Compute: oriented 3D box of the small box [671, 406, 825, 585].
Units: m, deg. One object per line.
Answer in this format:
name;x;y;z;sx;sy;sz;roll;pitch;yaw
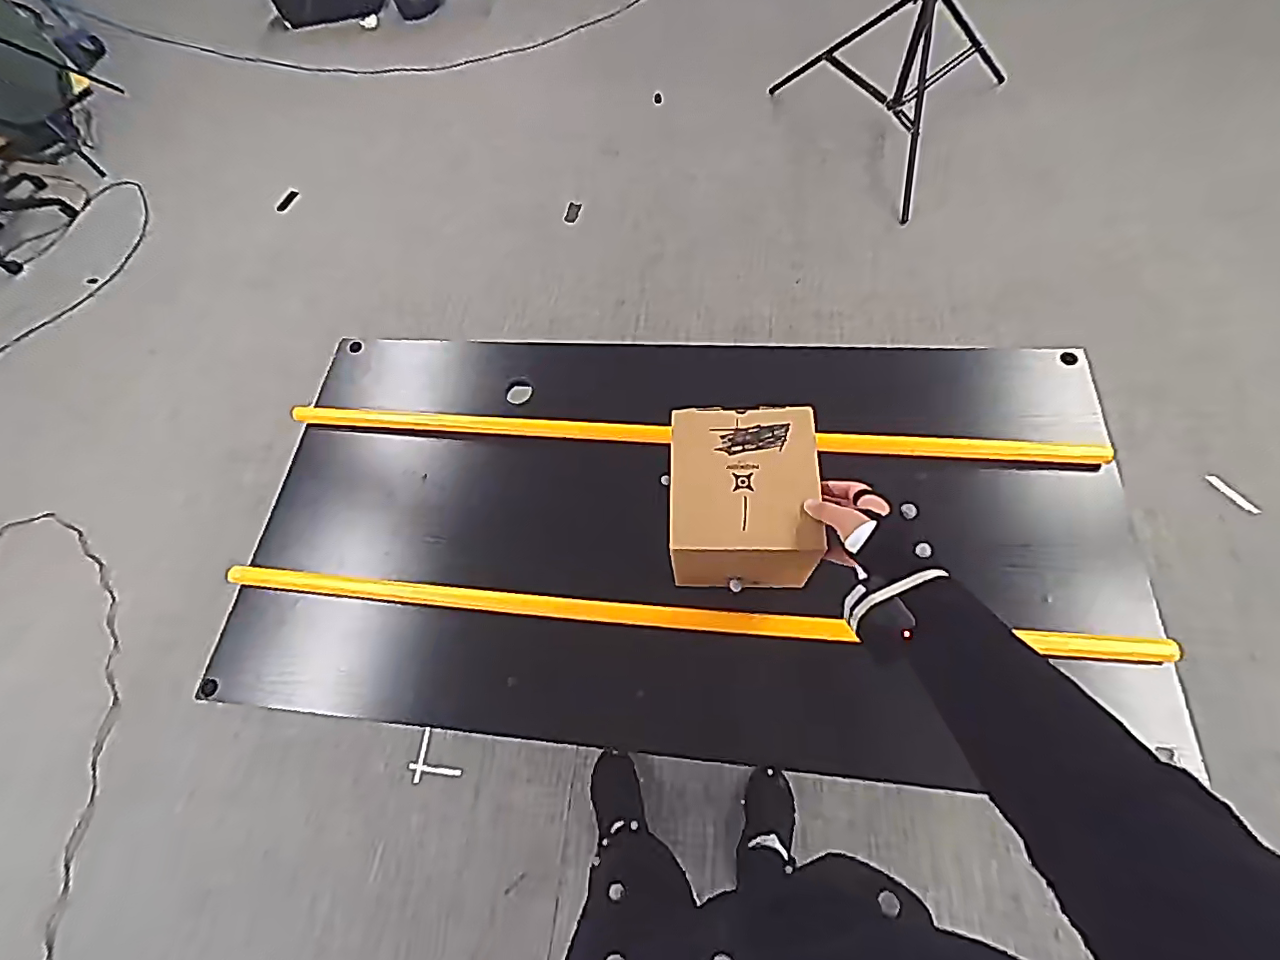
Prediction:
small box;0.126;0.025;0.681;0.168;0.176;0.179;0;66;7
